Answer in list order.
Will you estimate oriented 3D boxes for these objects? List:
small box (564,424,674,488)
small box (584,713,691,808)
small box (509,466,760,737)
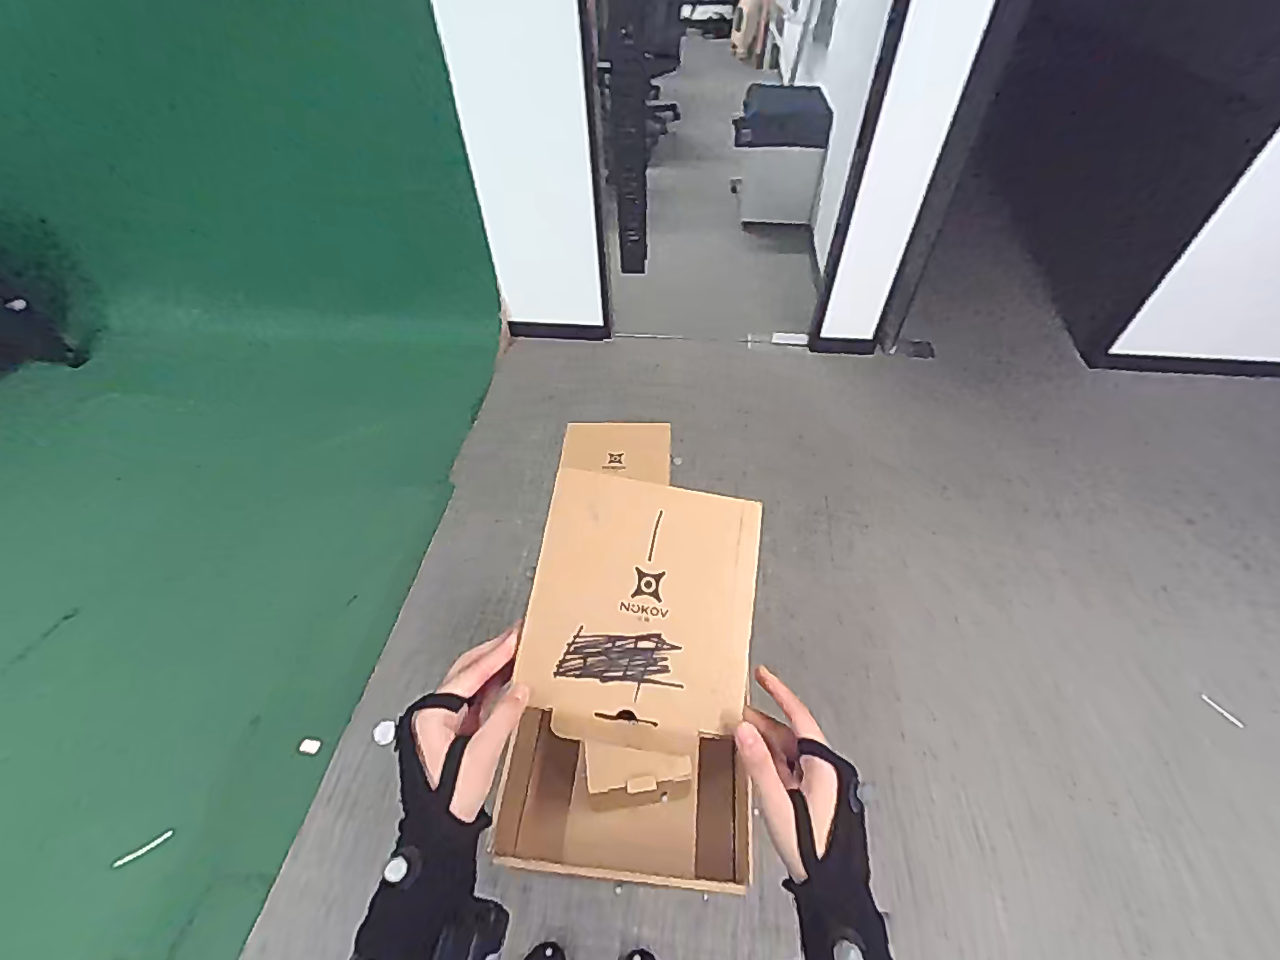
[{"bbox_3d":[-0.031,0.031,0.871,0.168,0.176,0.179,1,50,5],"label":"small box"},{"bbox_3d":[-0.007,0.456,0.940,0.168,0.176,0.179,-6,49,-4],"label":"small box"},{"bbox_3d":[-0.007,0.107,0.480,0.168,0.176,0.179,11,73,-4],"label":"small box"}]
